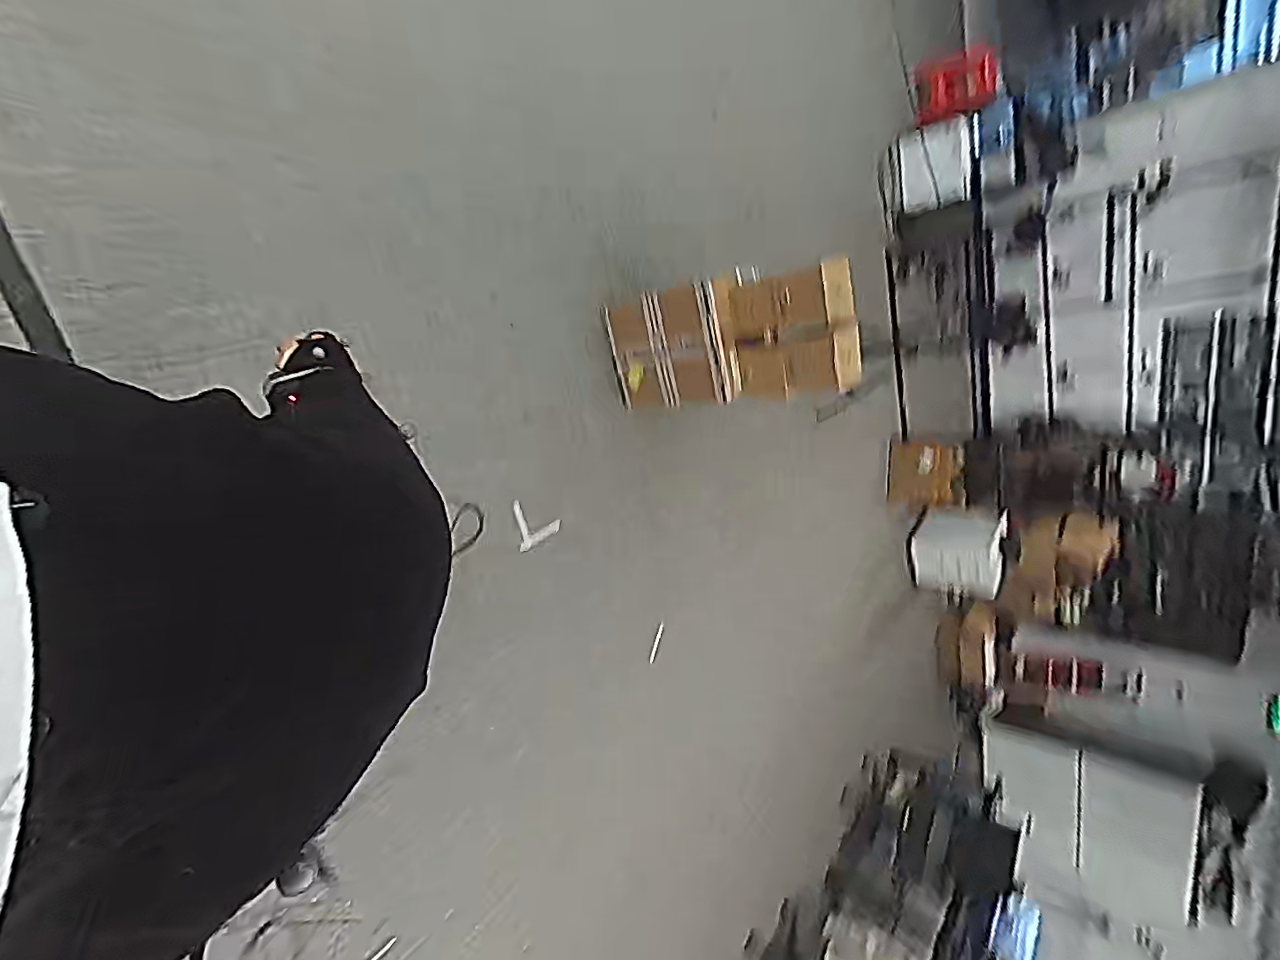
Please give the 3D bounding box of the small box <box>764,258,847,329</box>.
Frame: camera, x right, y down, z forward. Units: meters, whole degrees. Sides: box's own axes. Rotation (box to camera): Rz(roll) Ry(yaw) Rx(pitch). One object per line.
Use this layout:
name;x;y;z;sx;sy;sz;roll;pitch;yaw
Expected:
small box;0.502;-0.564;1.639;0.179;0.176;0.168;-25;107;-40

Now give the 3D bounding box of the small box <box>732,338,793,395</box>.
small box;0.430;-0.385;1.814;0.179;0.176;0.168;-26;112;-40

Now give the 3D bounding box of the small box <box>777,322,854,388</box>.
small box;0.552;-0.392;1.702;0.179;0.176;0.168;-29;114;-40

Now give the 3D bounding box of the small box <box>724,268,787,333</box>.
small box;0.390;-0.582;1.758;0.179;0.176;0.168;-25;109;-40
